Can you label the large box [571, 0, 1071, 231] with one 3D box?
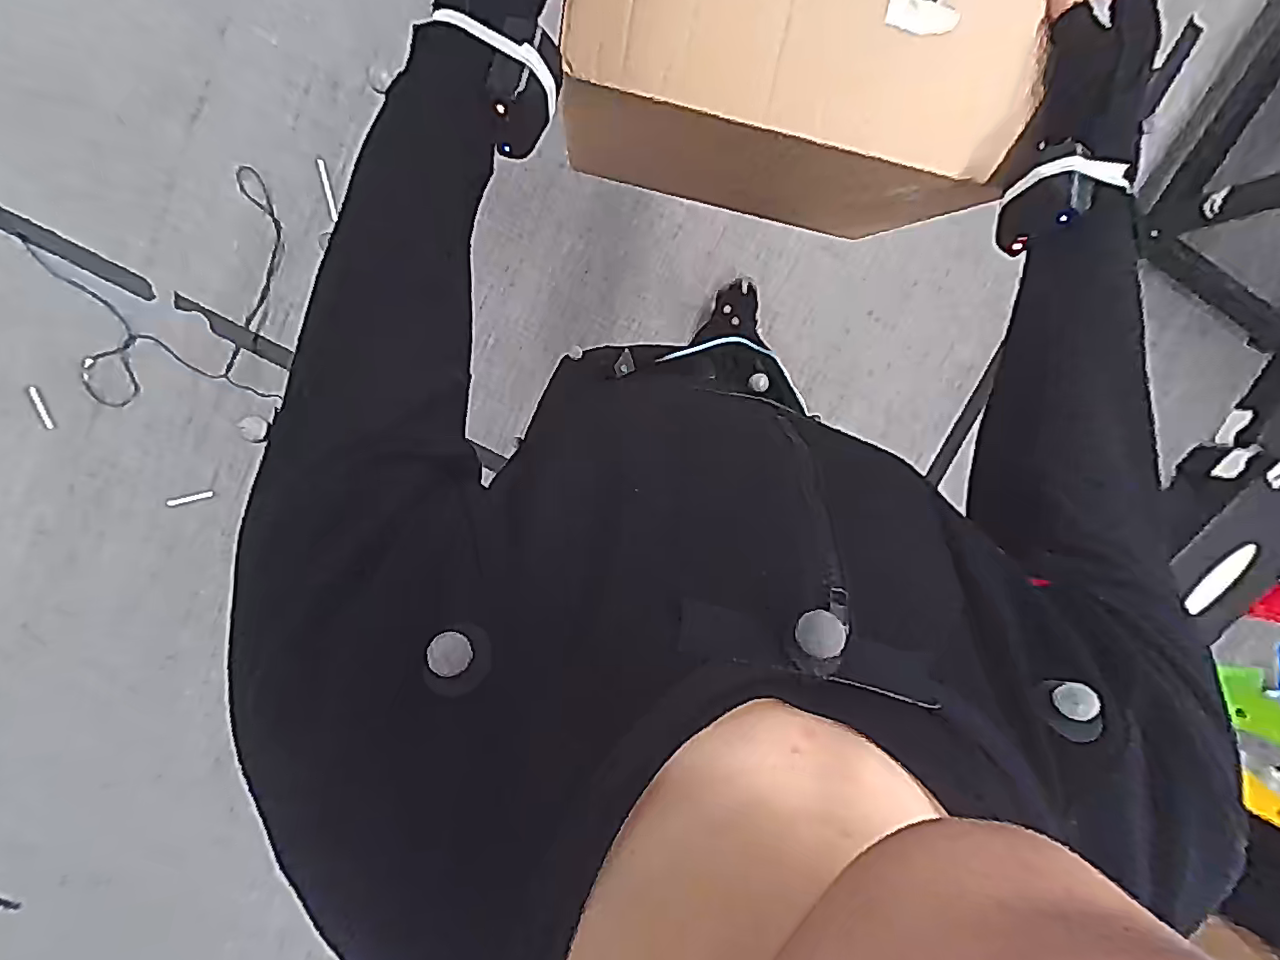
[{"bbox_3d":[0.148,-0.479,0.557,0.408,0.320,0.320,9,107,-9],"label":"large box"}]
